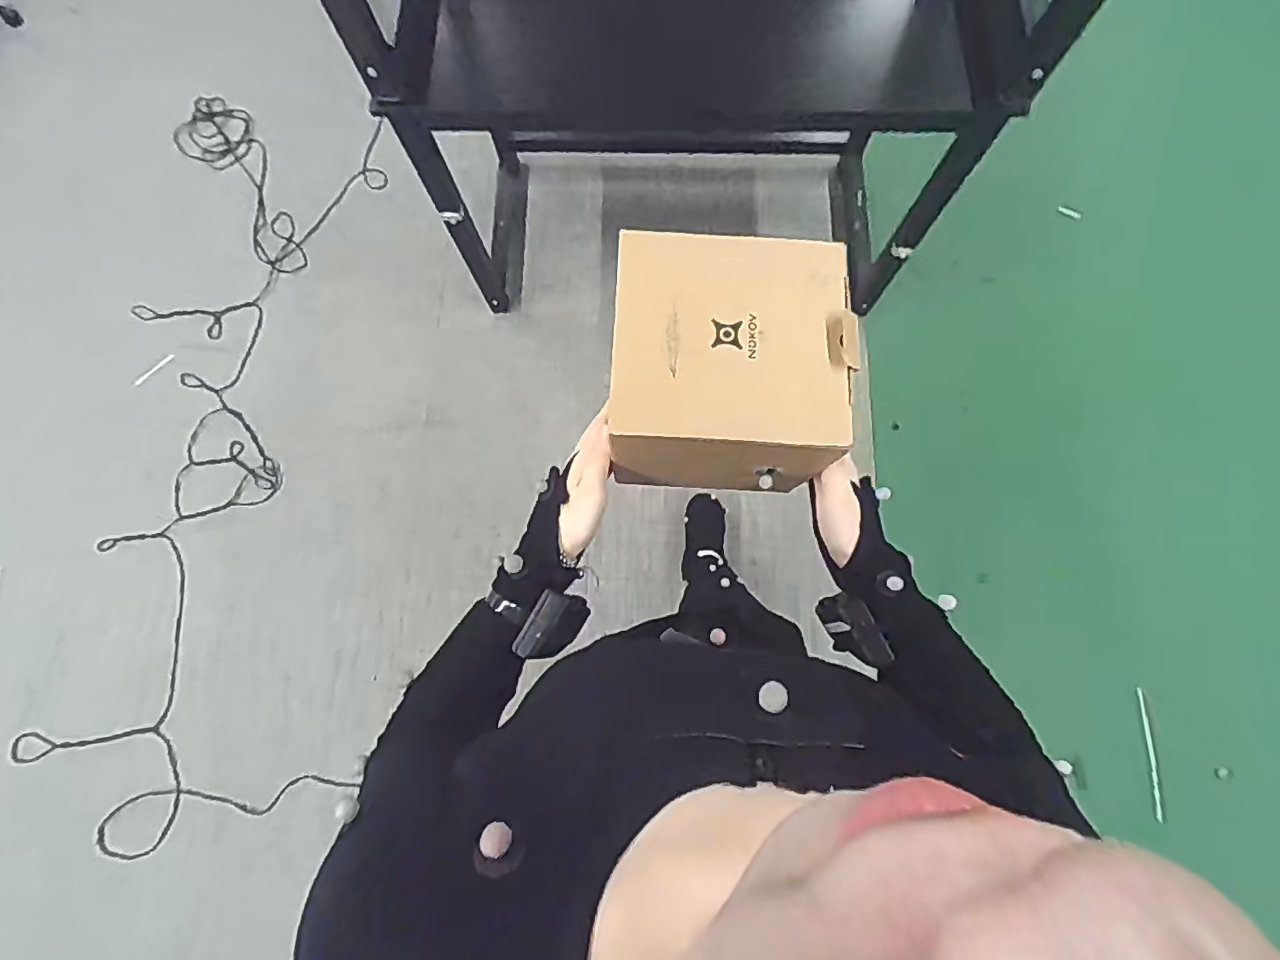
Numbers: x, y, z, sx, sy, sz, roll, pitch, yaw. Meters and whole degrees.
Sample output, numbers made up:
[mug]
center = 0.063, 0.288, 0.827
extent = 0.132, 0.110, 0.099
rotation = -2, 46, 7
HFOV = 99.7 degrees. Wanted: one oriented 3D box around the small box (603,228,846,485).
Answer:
[small box]
center = 0.063, -0.093, 0.477
extent = 0.179, 0.176, 0.168
rotation = 2, 77, 0
